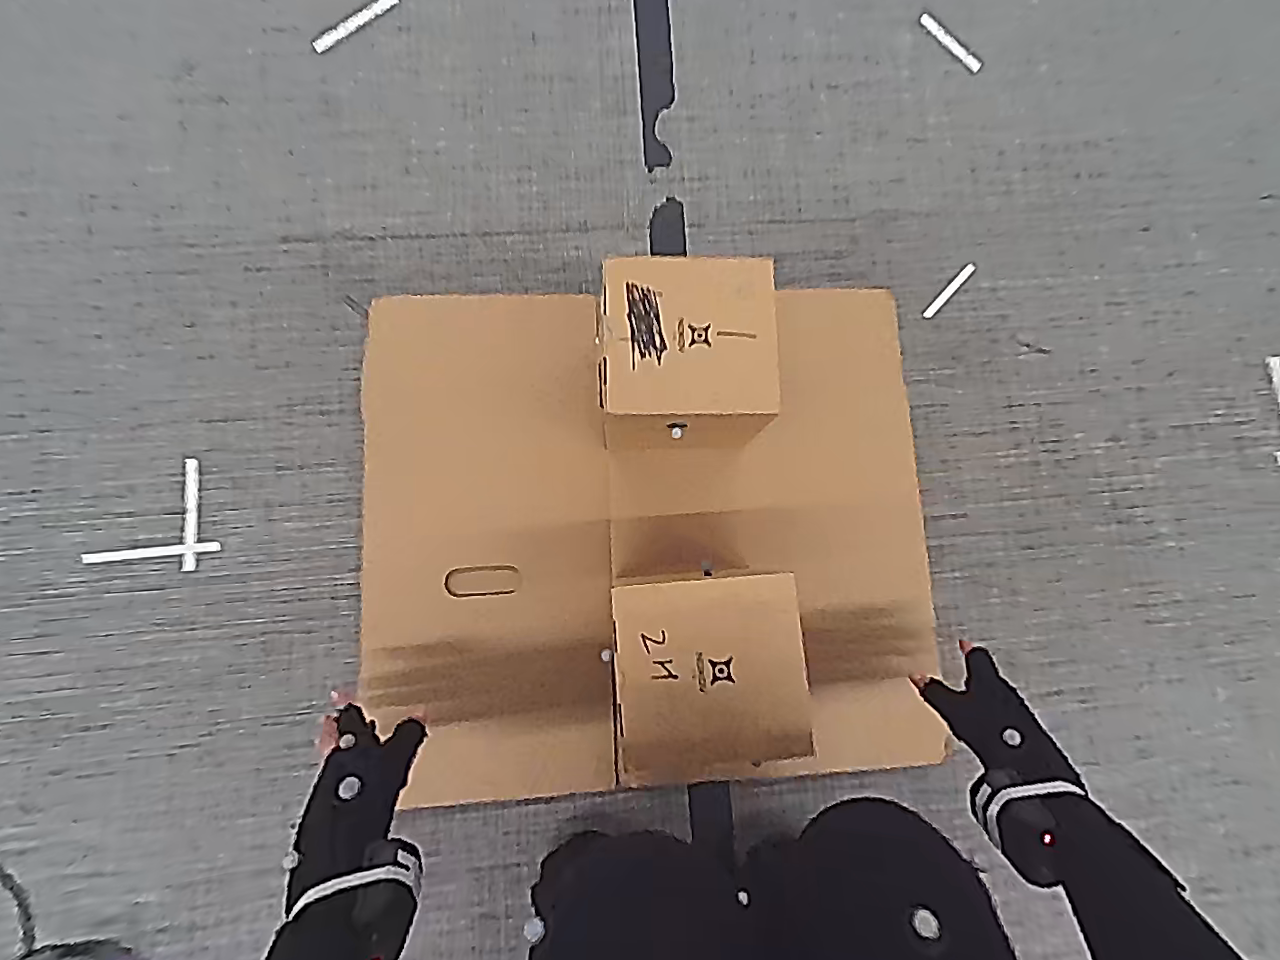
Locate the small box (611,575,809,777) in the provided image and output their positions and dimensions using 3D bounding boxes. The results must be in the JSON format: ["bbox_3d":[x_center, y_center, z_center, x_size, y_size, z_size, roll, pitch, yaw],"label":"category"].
[{"bbox_3d":[0.060,0.191,0.577,0.179,0.176,0.168,-4,82,-3],"label":"small box"}]

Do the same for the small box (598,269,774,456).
[{"bbox_3d":[0.043,-0.123,0.624,0.179,0.176,0.168,-1,81,-3],"label":"small box"}]
